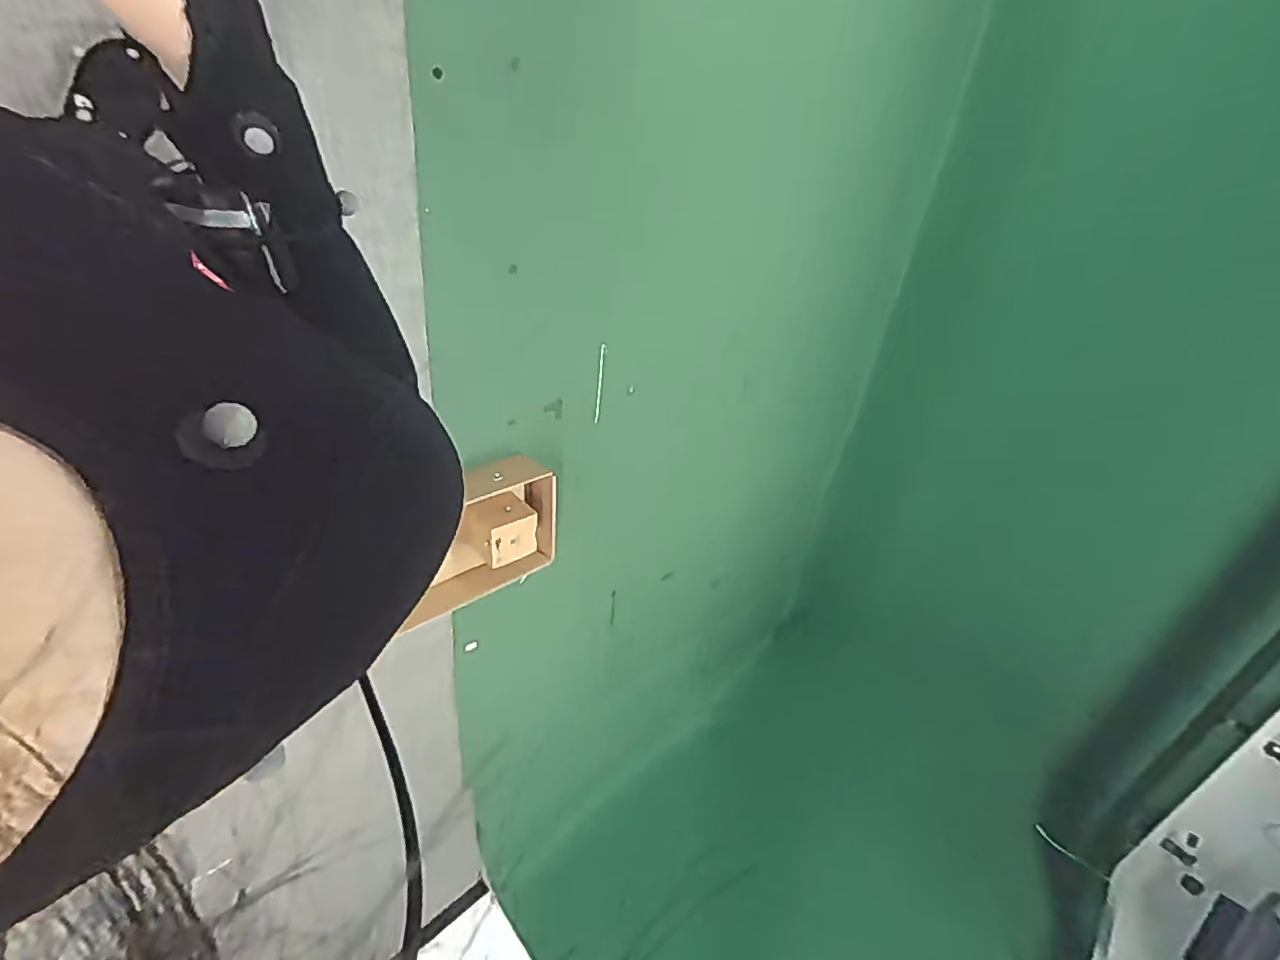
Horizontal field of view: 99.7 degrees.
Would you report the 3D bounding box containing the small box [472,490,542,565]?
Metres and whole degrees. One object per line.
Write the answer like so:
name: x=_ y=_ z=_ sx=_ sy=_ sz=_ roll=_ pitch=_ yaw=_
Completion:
small box: x=-0.456 y=0.156 z=1.856 sx=0.179 sy=0.176 sz=0.168 roll=-21 pitch=131 yaw=-38
